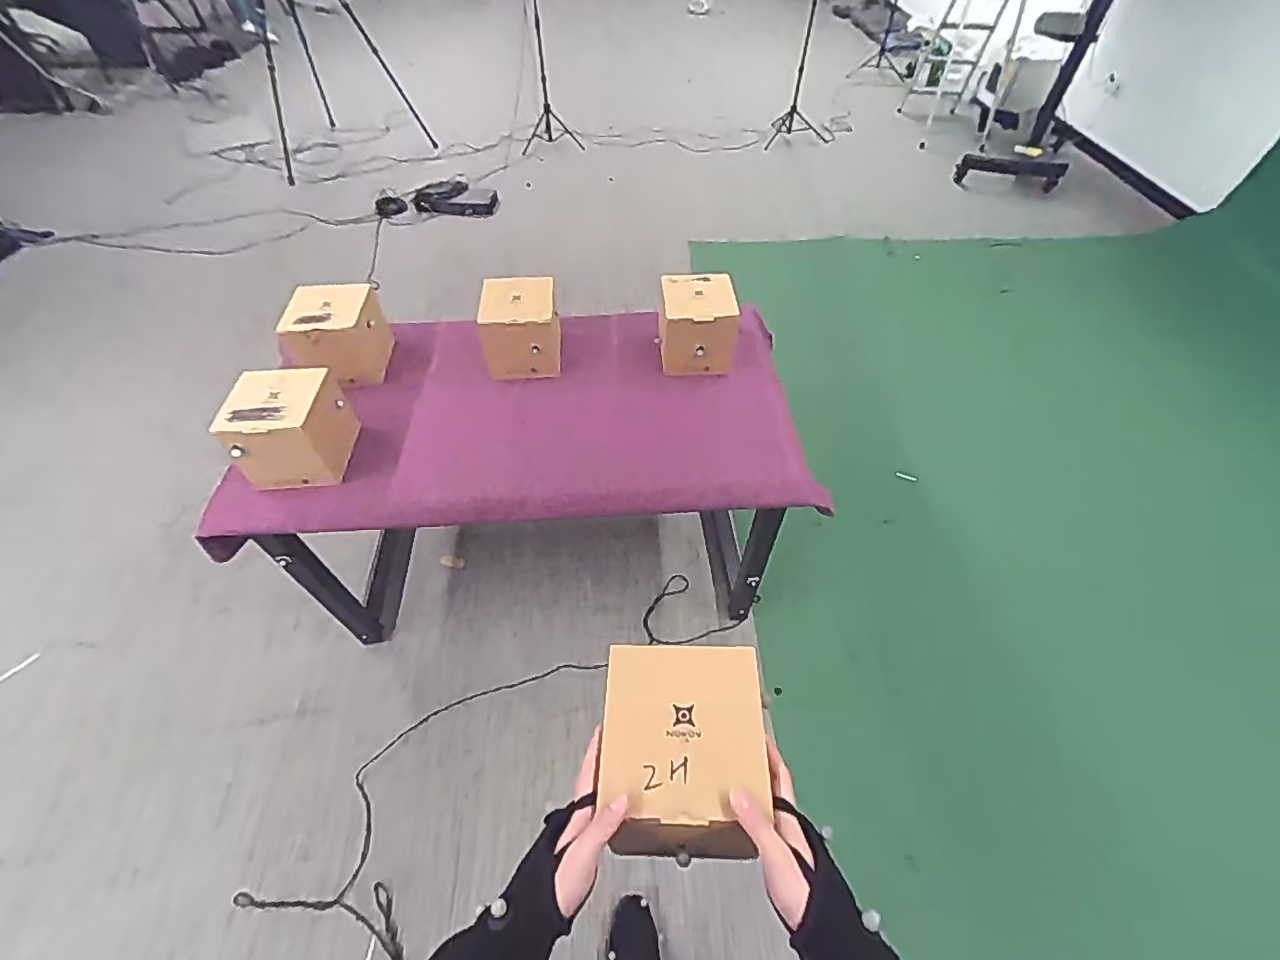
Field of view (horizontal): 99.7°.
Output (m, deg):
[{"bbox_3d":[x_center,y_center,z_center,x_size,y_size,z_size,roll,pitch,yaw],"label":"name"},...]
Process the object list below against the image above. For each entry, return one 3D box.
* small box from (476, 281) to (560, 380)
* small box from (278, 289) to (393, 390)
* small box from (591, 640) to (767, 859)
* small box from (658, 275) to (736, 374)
[{"bbox_3d":[-0.285,-0.355,1.303,0.168,0.176,0.179,-3,52,-3],"label":"small box"},{"bbox_3d":[-0.707,-0.327,1.281,0.168,0.176,0.179,-4,51,-4],"label":"small box"},{"bbox_3d":[0.045,0.301,0.610,0.168,0.176,0.179,-1,45,5],"label":"small box"},{"bbox_3d":[0.131,-0.369,1.309,0.168,0.176,0.179,-3,53,-2],"label":"small box"}]
